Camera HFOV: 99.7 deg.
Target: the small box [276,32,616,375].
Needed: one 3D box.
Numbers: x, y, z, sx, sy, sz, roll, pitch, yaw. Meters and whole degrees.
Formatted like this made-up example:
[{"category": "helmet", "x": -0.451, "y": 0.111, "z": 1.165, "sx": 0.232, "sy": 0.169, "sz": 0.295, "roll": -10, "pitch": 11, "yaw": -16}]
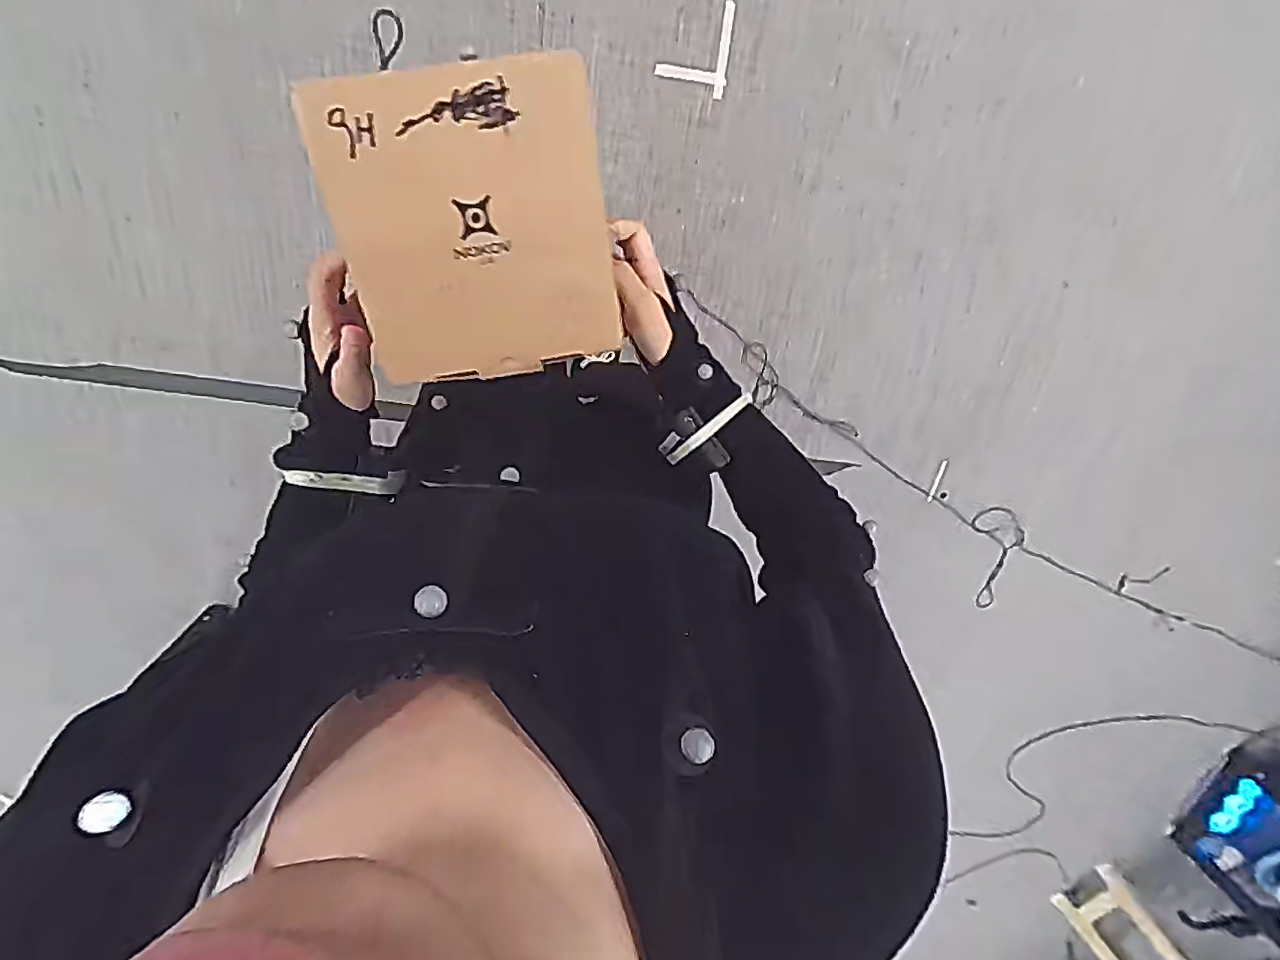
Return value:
[{"category": "small box", "x": -0.119, "y": -0.196, "z": 0.404, "sx": 0.168, "sy": 0.176, "sz": 0.179, "roll": -12, "pitch": 117, "yaw": -6}]
